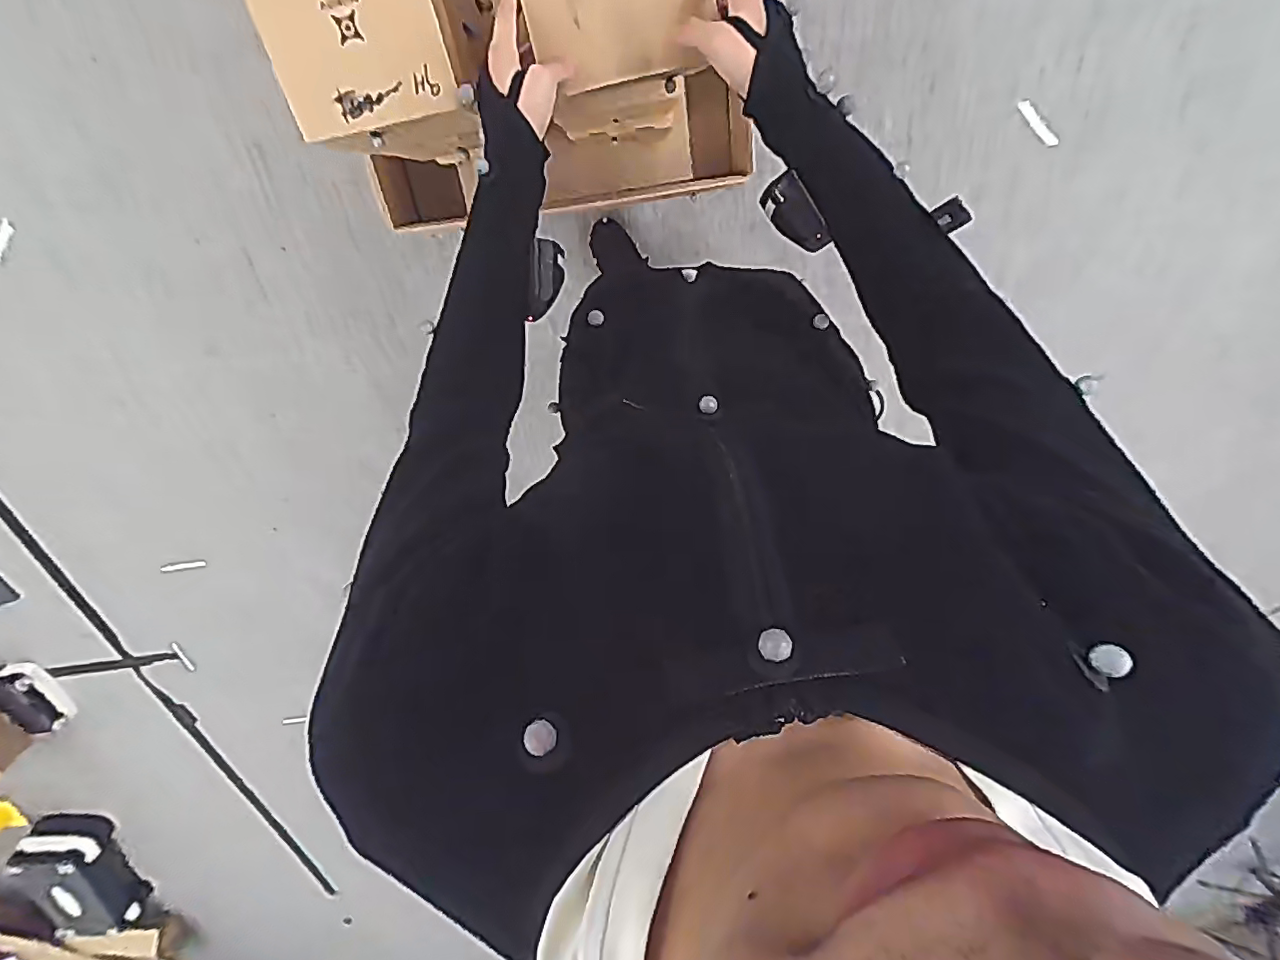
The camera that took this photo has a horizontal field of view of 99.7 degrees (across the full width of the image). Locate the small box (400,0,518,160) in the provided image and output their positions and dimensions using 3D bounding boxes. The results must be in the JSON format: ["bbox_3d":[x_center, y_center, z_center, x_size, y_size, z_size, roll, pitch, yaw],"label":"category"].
[{"bbox_3d":[-0.271,-0.537,0.708,0.168,0.176,0.179,-10,119,3],"label":"small box"}]

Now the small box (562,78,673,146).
[{"bbox_3d":[-0.040,-0.640,0.850,0.168,0.176,0.179,-5,119,2],"label":"small box"}]

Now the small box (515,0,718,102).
[{"bbox_3d":[-0.032,-0.485,0.527,0.179,0.176,0.168,-11,123,3],"label":"small box"}]

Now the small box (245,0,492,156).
[{"bbox_3d":[-0.272,-0.457,0.562,0.168,0.176,0.179,-10,117,4],"label":"small box"}]
